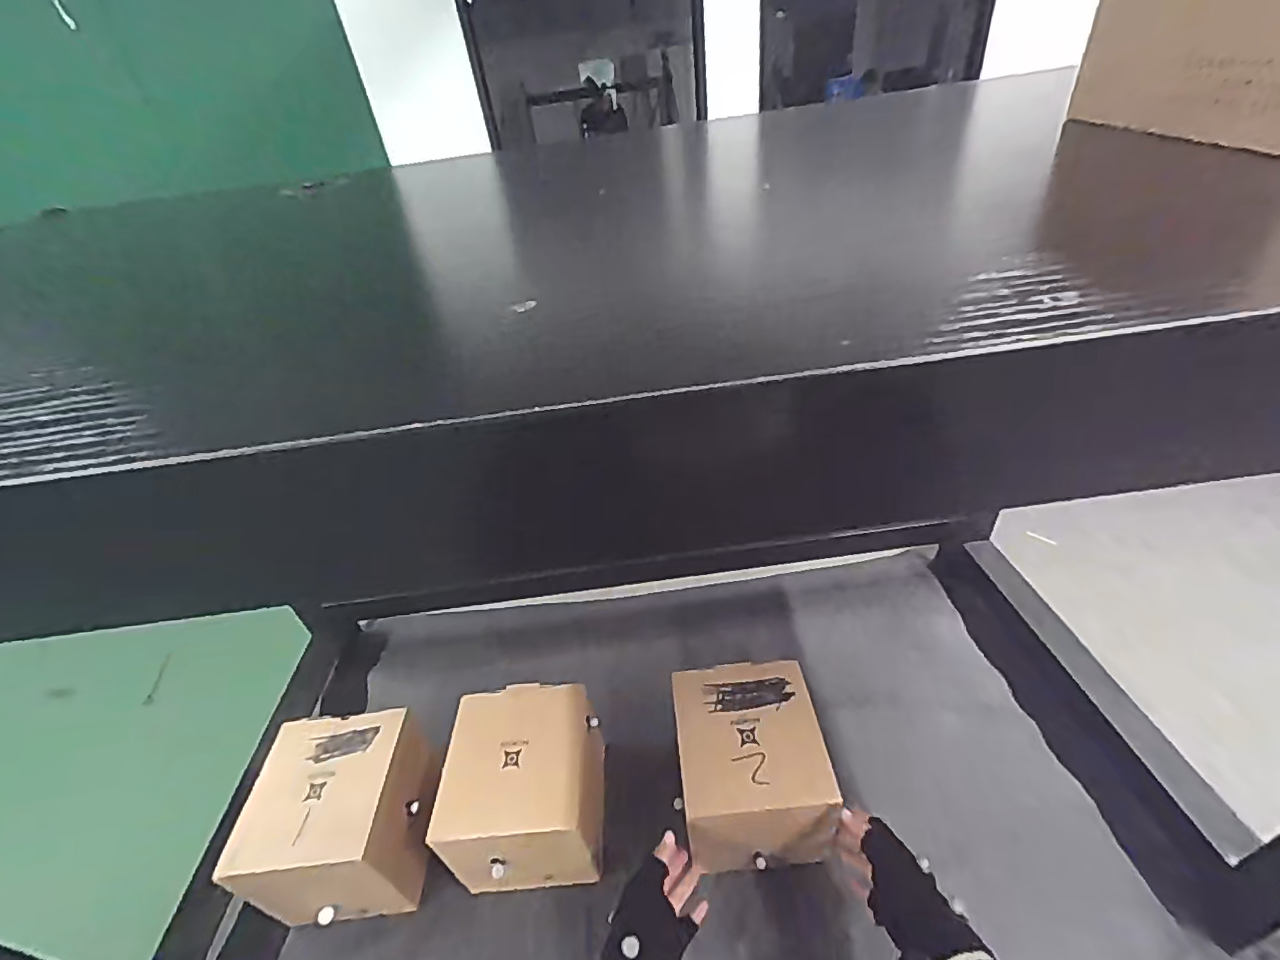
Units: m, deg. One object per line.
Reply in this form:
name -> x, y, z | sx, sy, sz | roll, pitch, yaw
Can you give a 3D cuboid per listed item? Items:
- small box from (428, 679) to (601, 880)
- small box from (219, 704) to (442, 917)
small box -> -0.144, 0.388, 0.696 | 0.168, 0.176, 0.179 | -6, 36, 2
small box -> -0.369, 0.419, 0.692 | 0.168, 0.176, 0.179 | -7, 37, 1
